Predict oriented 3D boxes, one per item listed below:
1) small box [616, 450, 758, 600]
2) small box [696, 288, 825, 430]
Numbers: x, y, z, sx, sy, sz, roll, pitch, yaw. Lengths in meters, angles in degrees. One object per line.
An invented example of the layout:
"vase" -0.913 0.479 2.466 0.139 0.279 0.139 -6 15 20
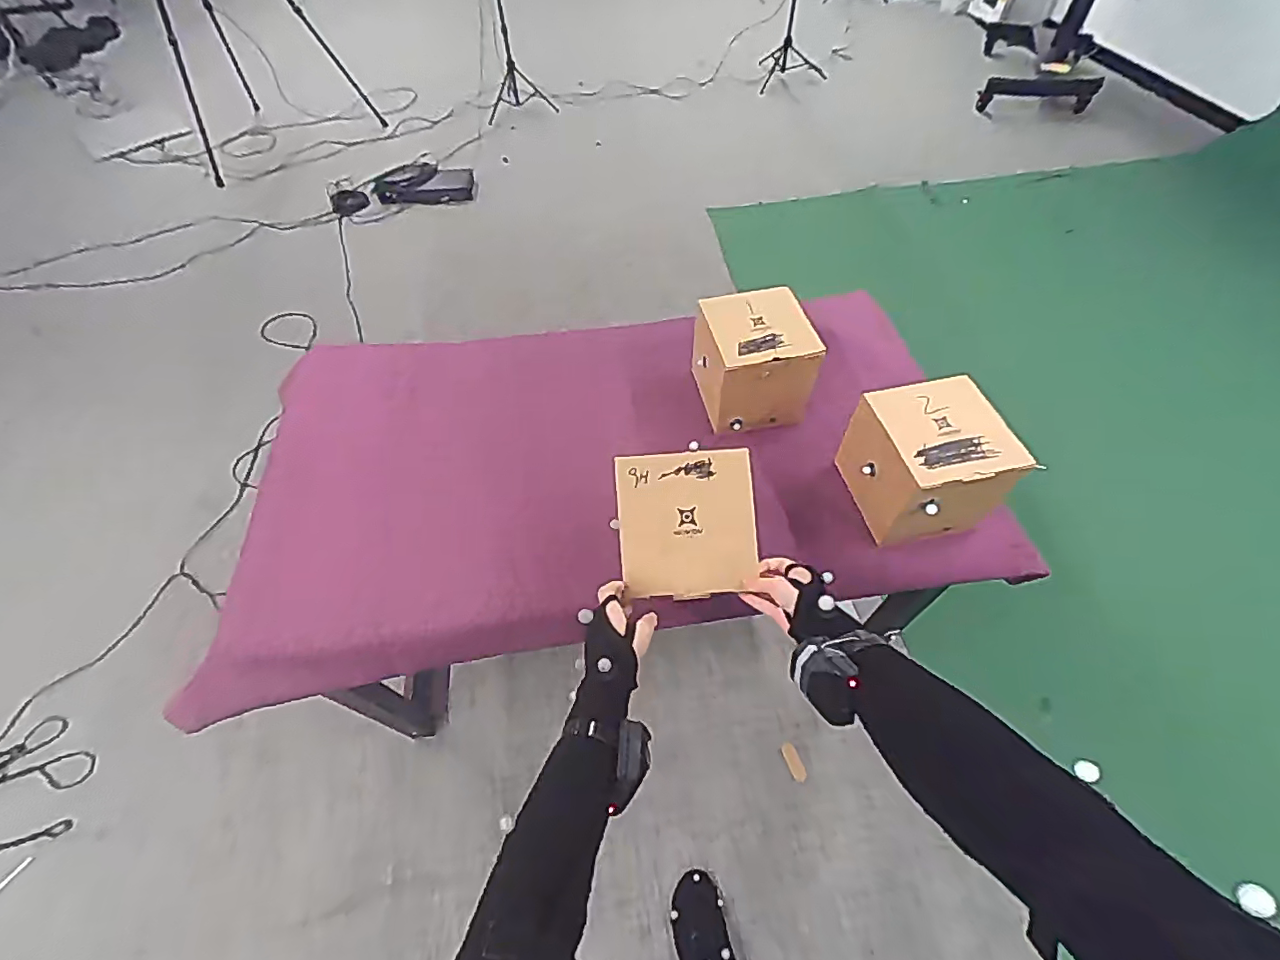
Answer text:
"small box" 0.058 0.055 0.728 0.168 0.176 0.179 -3 89 0
"small box" 0.199 -0.203 0.947 0.168 0.176 0.179 -10 54 -5
